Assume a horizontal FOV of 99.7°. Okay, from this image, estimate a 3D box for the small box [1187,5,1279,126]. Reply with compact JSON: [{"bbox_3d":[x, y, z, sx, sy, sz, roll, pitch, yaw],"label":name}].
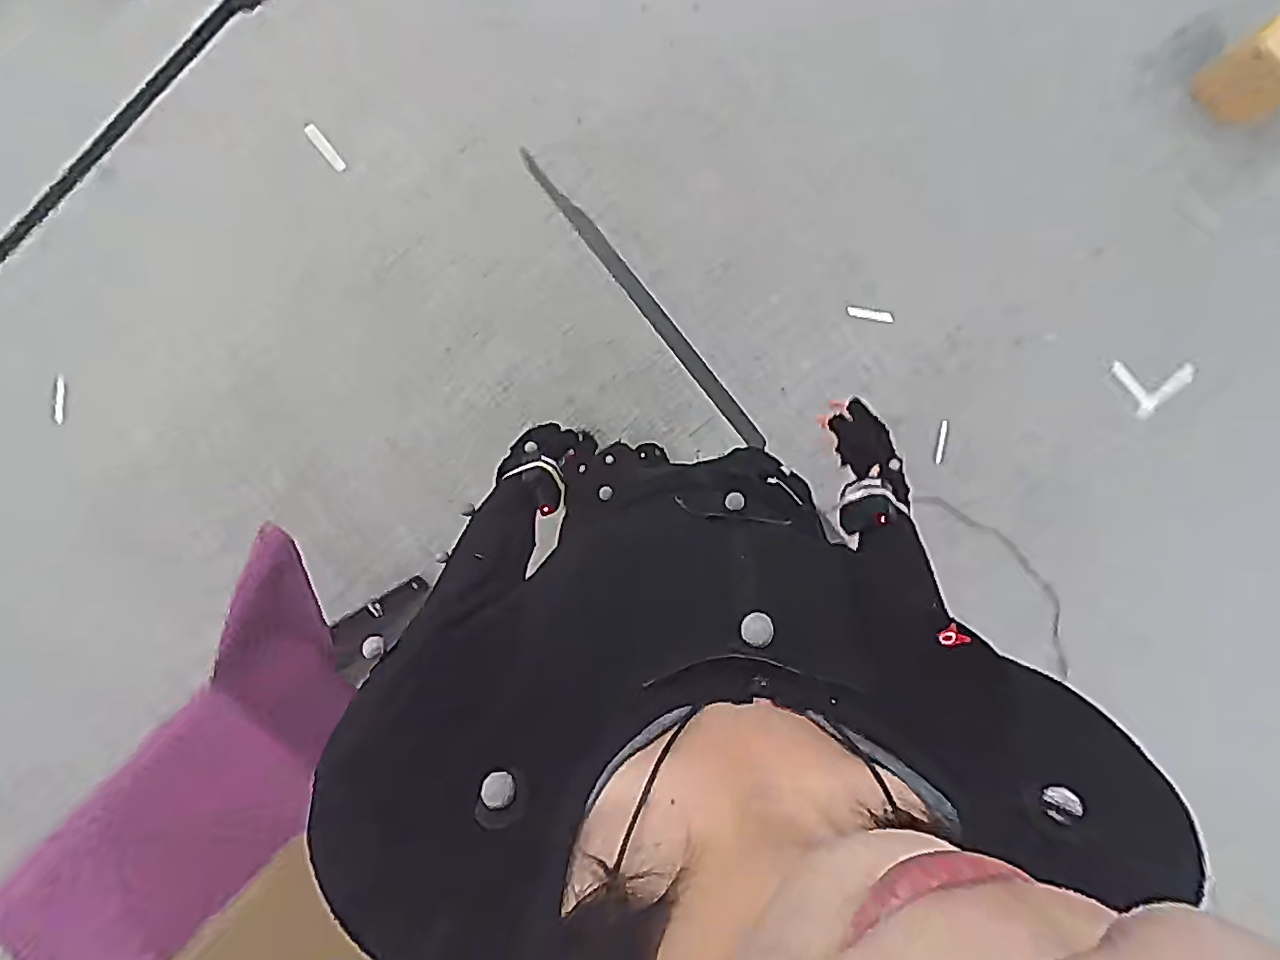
[{"bbox_3d":[1.486,-0.986,1.277,0.179,0.176,0.168,42,95,0],"label":"small box"}]
